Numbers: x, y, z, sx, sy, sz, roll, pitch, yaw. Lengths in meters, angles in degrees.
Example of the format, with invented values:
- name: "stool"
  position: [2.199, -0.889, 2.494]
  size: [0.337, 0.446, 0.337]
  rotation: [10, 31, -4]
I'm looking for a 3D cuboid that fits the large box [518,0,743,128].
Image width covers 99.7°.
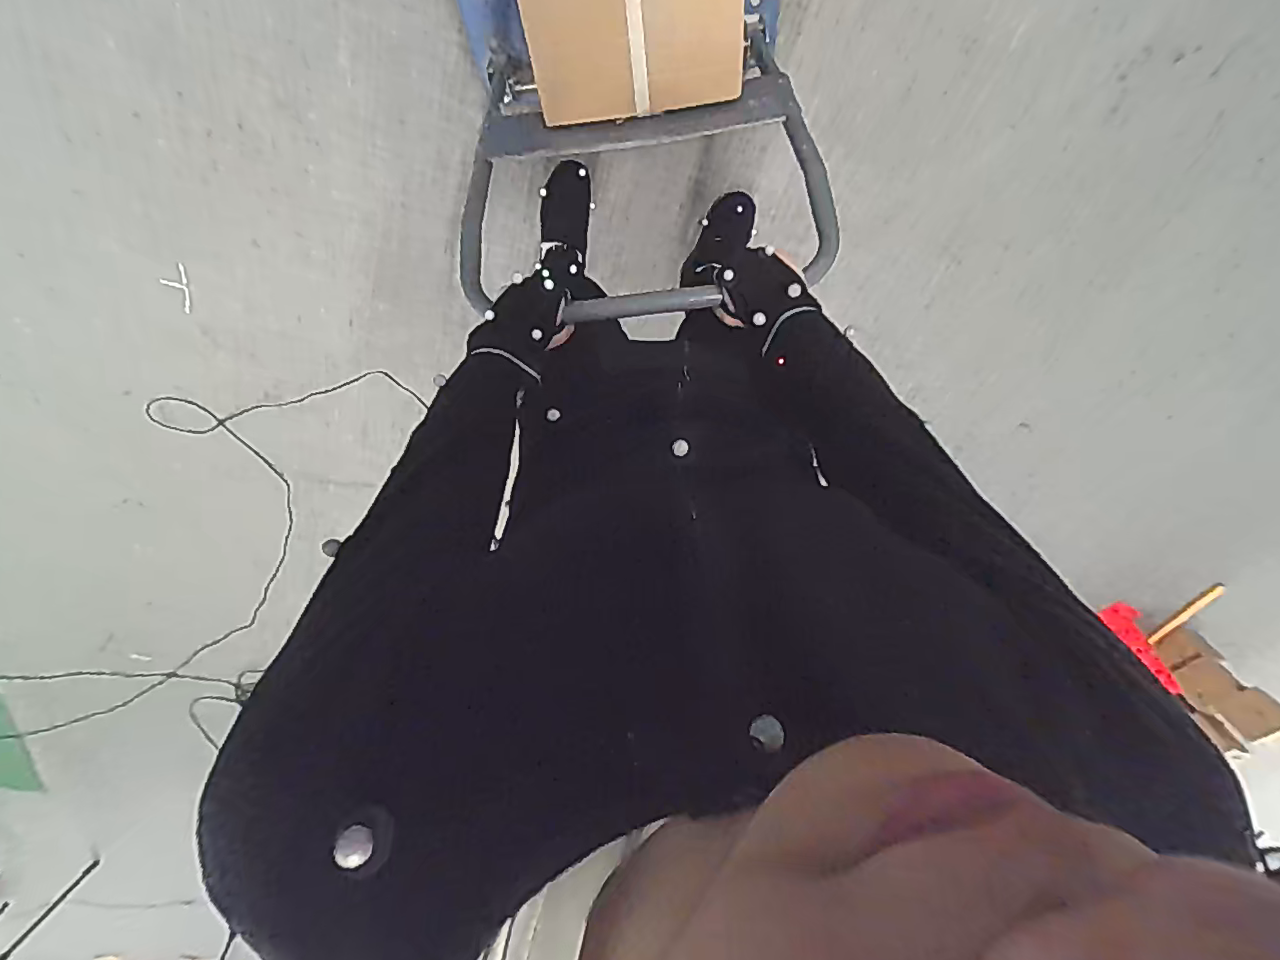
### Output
- name: "large box"
  position: [-0.025, -0.818, 0.792]
  size: [0.320, 0.320, 0.408]
  rotation: [-6, 142, 4]
